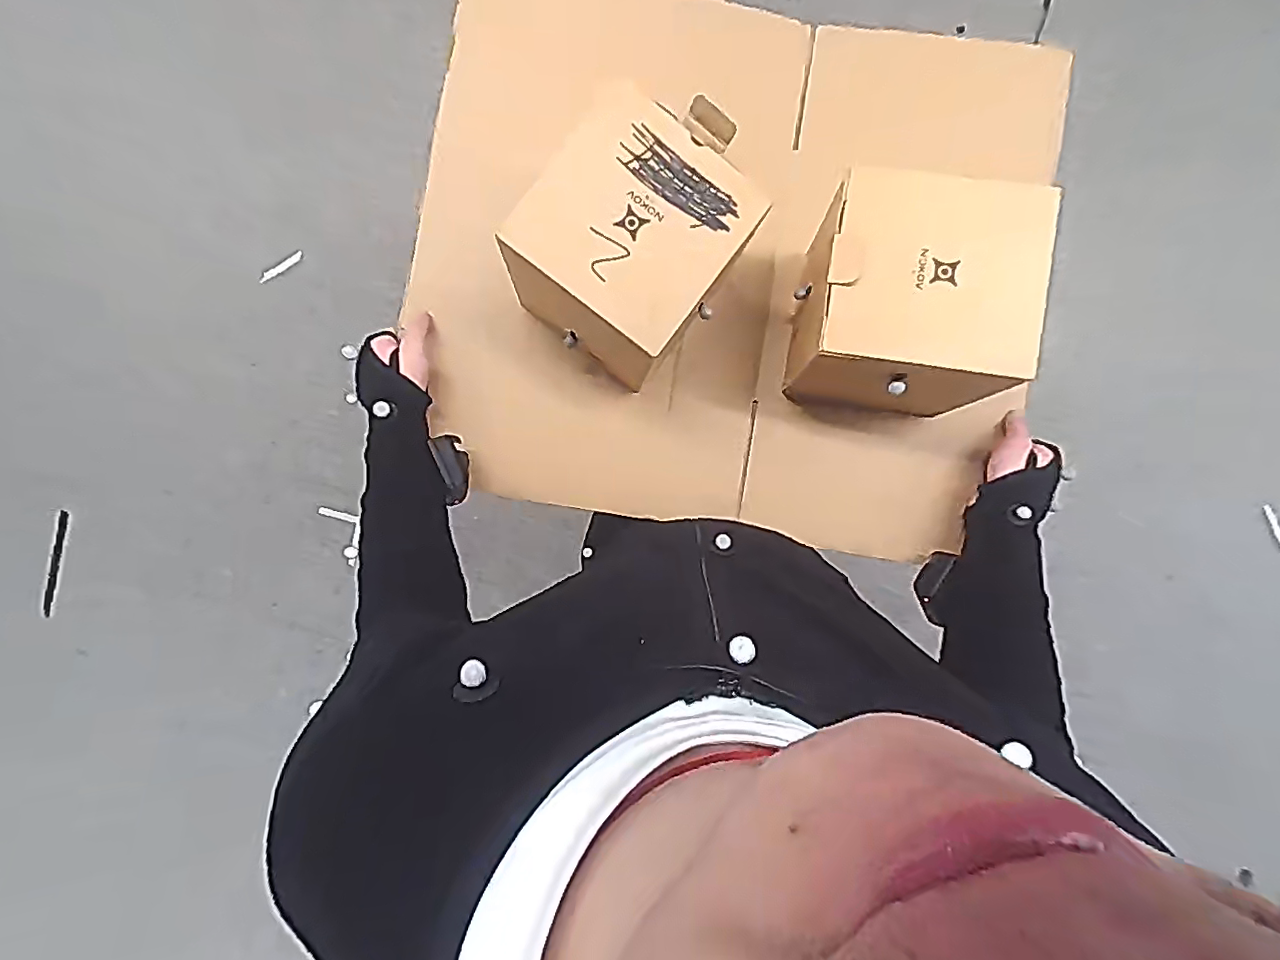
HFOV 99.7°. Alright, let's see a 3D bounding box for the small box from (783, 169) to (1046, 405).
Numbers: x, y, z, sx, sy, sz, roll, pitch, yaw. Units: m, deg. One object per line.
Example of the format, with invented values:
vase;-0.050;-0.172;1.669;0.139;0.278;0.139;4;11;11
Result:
small box;0.257;-0.178;0.548;0.179;0.176;0.168;9;88;5
